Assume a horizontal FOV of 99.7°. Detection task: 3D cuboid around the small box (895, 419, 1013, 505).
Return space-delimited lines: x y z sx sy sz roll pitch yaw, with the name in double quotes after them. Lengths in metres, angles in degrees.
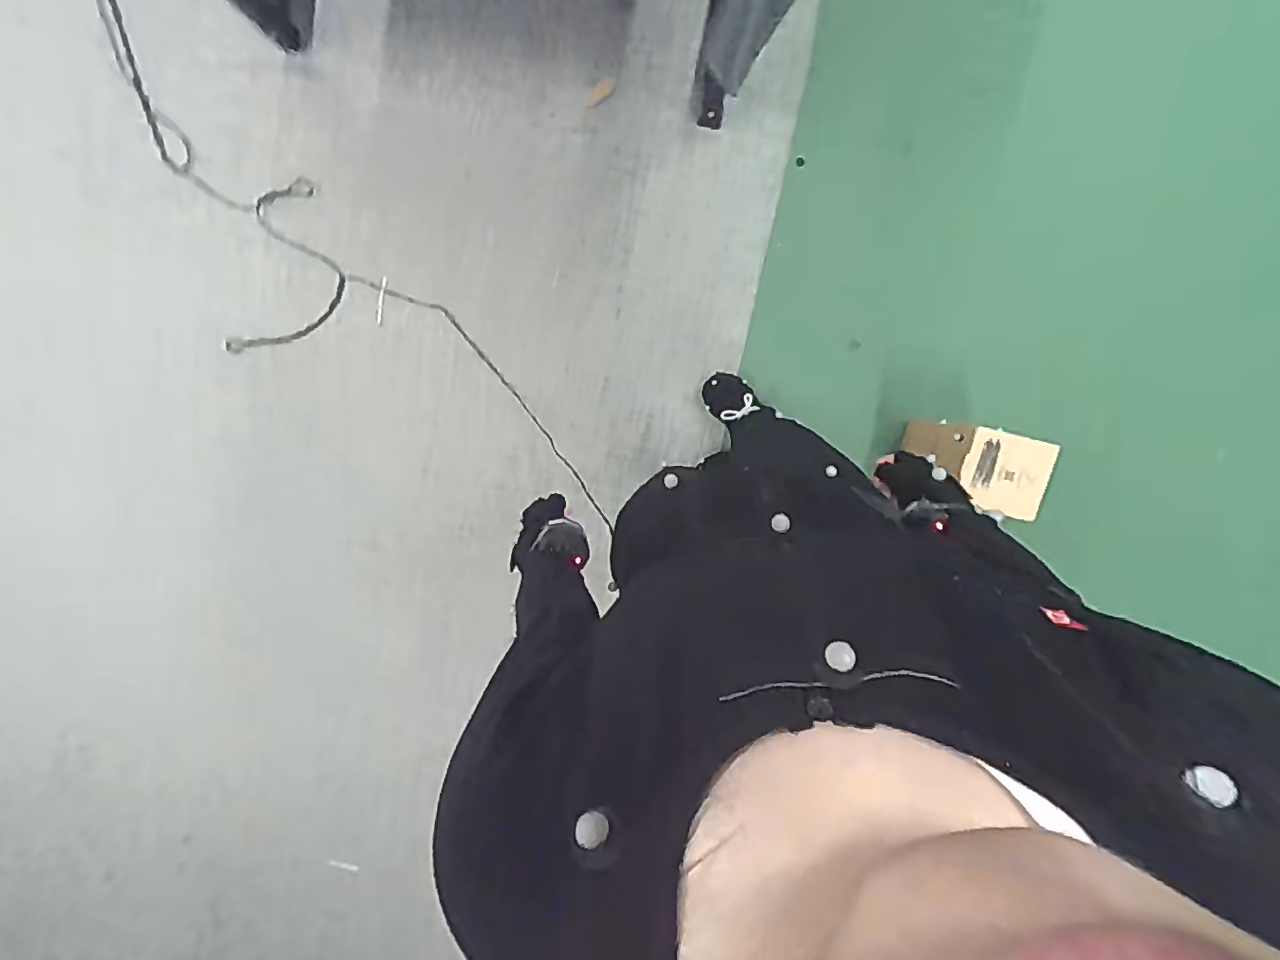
0.773 -0.049 1.353 0.179 0.176 0.168 17 98 2 "small box"
